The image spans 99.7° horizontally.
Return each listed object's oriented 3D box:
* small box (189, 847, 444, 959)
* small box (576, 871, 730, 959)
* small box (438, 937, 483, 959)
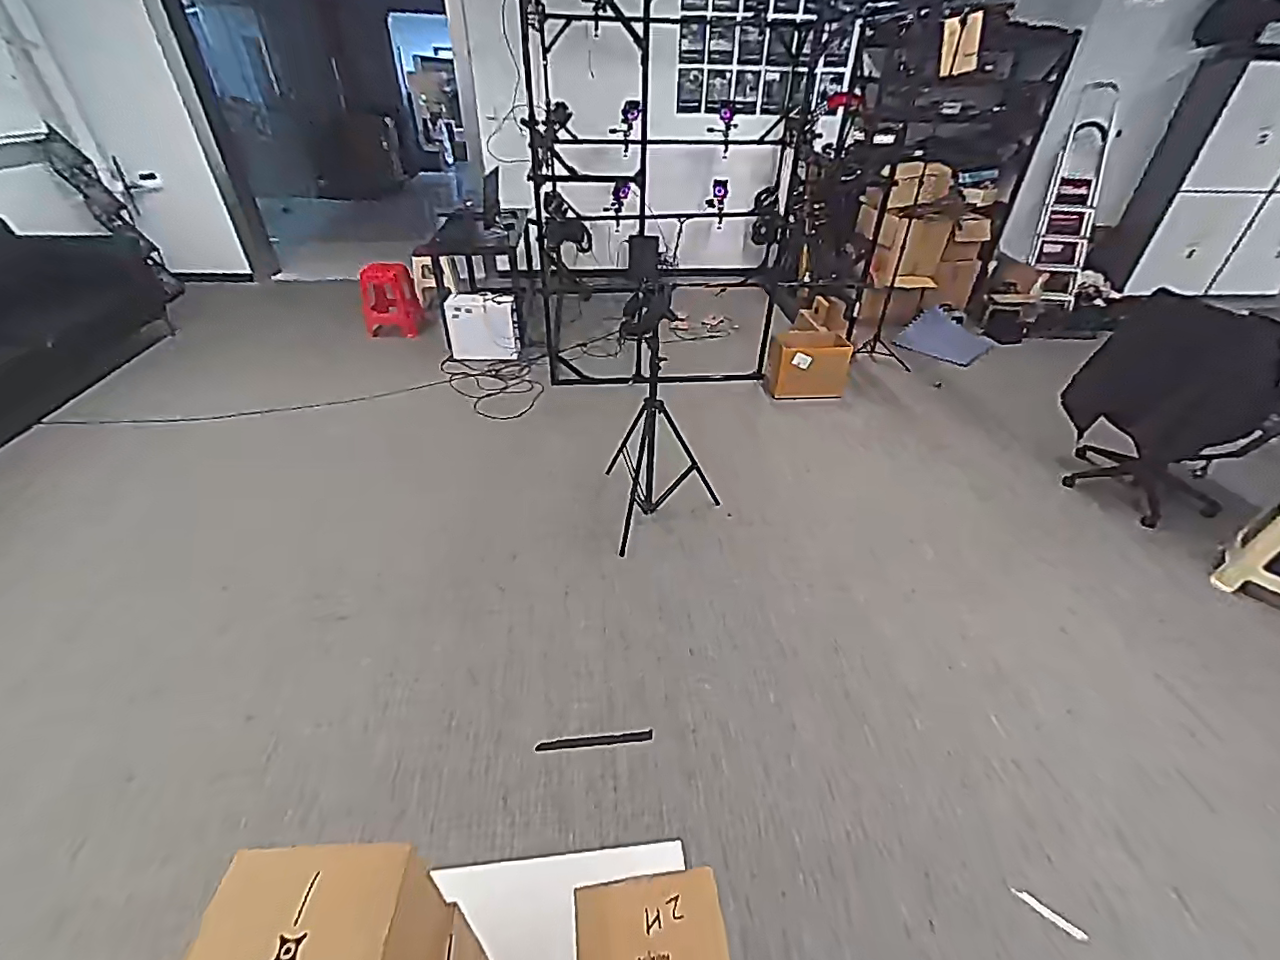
[{"bbox_3d":[-0.292,0.467,0.492,0.168,0.176,0.179,-1,36,-2],"label":"small box"},{"bbox_3d":[0.018,0.584,0.613,0.168,0.176,0.179,-5,37,-6],"label":"small box"},{"bbox_3d":[-0.290,0.728,0.693,0.168,0.176,0.179,-2,36,-5],"label":"small box"}]
